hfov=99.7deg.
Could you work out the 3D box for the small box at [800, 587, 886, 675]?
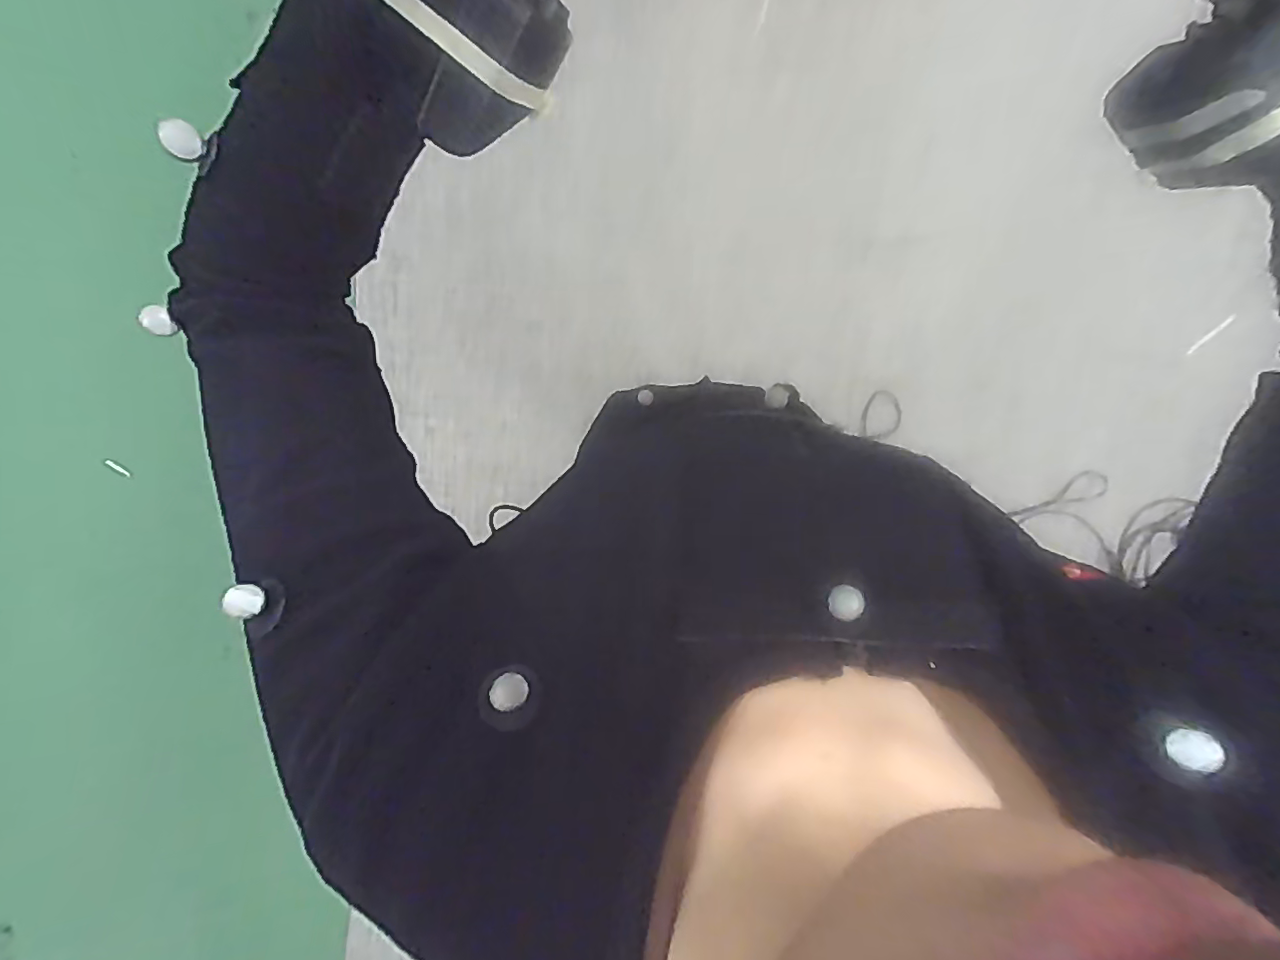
[{"bbox_3d":[0.530,0.392,1.432,0.168,0.176,0.179,2,99,1],"label":"small box"}]
